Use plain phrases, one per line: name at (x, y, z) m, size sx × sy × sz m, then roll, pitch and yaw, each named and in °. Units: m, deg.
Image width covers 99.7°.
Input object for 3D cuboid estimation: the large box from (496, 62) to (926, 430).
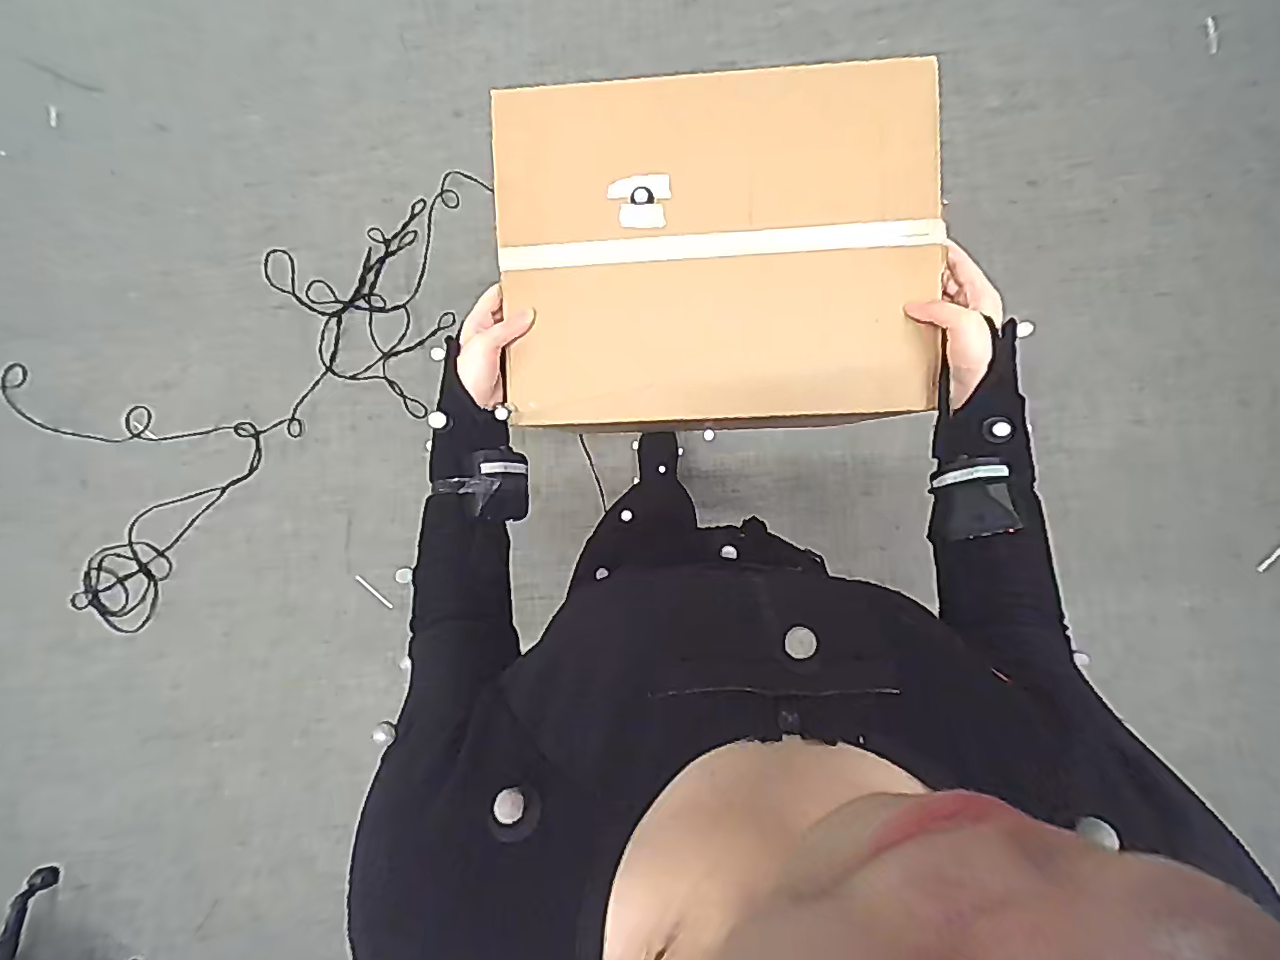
large box at (0.079, -0.227, 0.663) m, size 0.408 × 0.320 × 0.320 m, roll -2°, pitch 93°, yaw 5°
